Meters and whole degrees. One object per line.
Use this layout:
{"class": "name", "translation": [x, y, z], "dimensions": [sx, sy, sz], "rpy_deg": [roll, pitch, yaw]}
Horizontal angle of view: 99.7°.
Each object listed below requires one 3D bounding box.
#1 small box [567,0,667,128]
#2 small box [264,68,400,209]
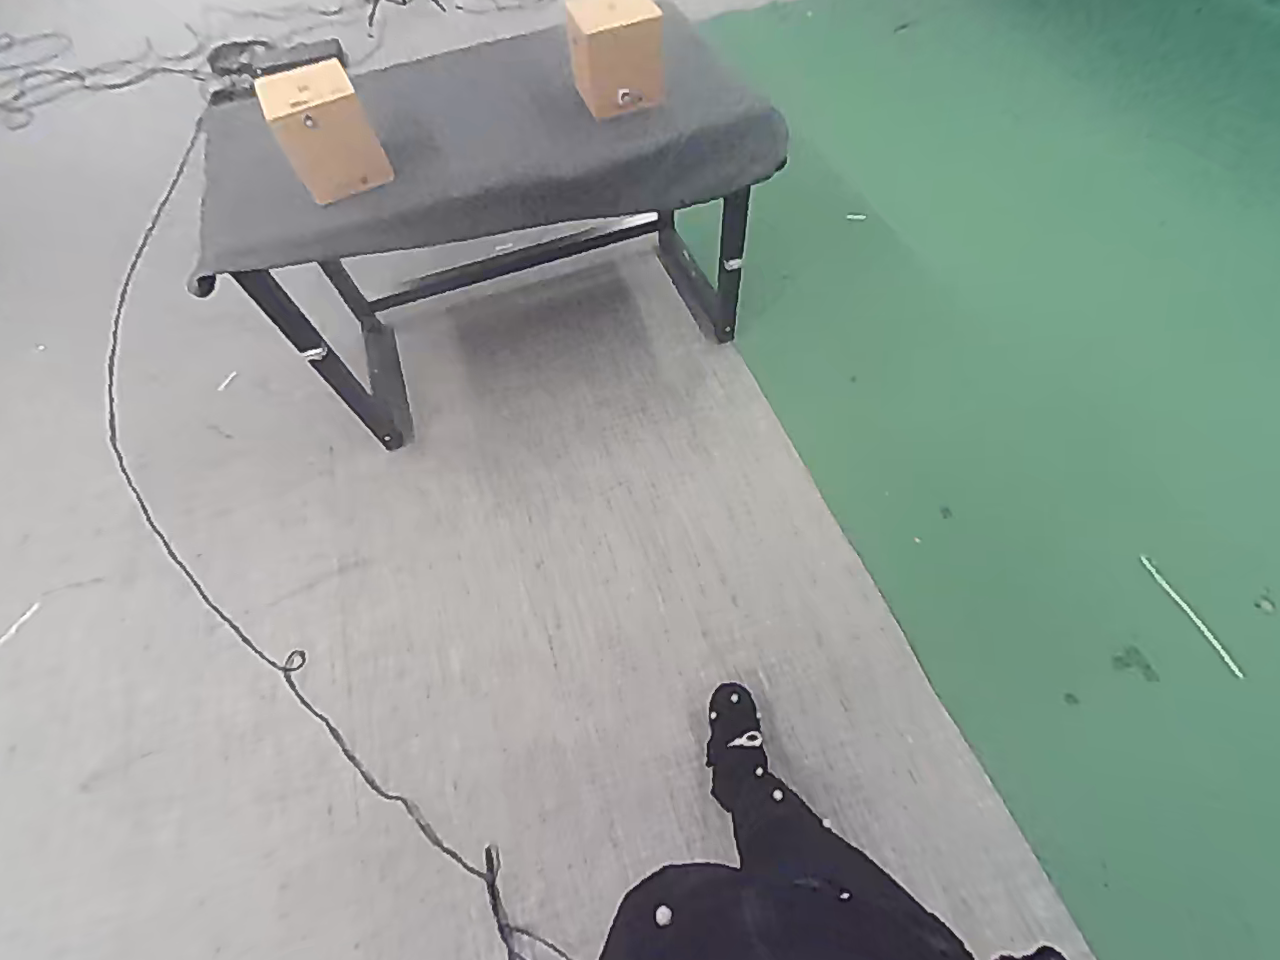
{"class": "small box", "translation": [-0.047, -0.910, 1.179], "dimensions": [0.168, 0.176, 0.179], "rpy_deg": [-20, 62, -5]}
{"class": "small box", "translation": [-0.617, -0.687, 1.093], "dimensions": [0.168, 0.176, 0.179], "rpy_deg": [-27, 60, -10]}
